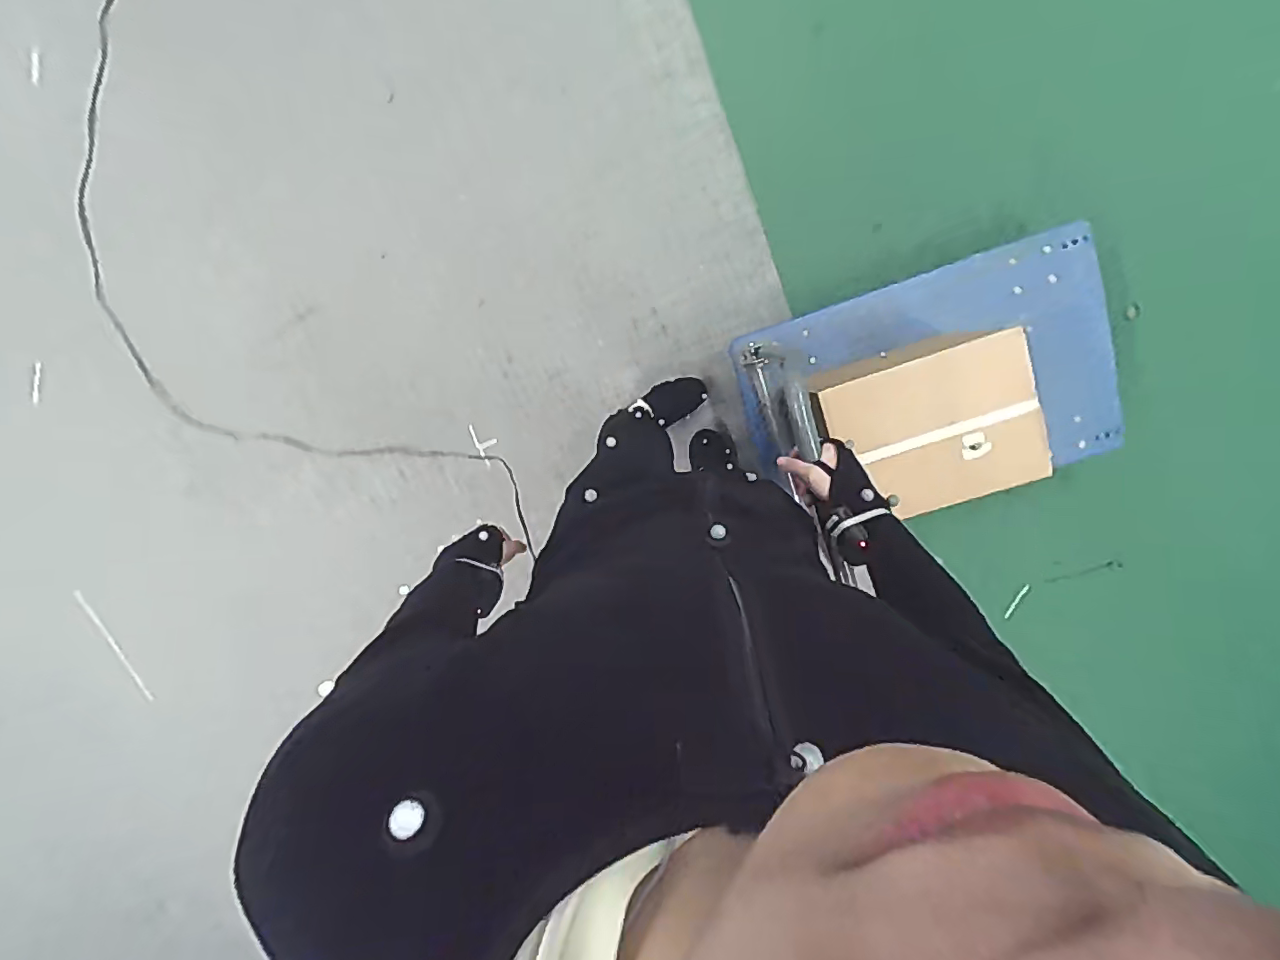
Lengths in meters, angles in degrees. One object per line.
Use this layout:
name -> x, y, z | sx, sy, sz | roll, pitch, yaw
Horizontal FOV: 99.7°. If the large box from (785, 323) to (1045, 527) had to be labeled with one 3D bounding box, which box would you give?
large box -> 0.592, -0.131, 1.232 | 0.408, 0.320, 0.320 | -18, 102, 6
